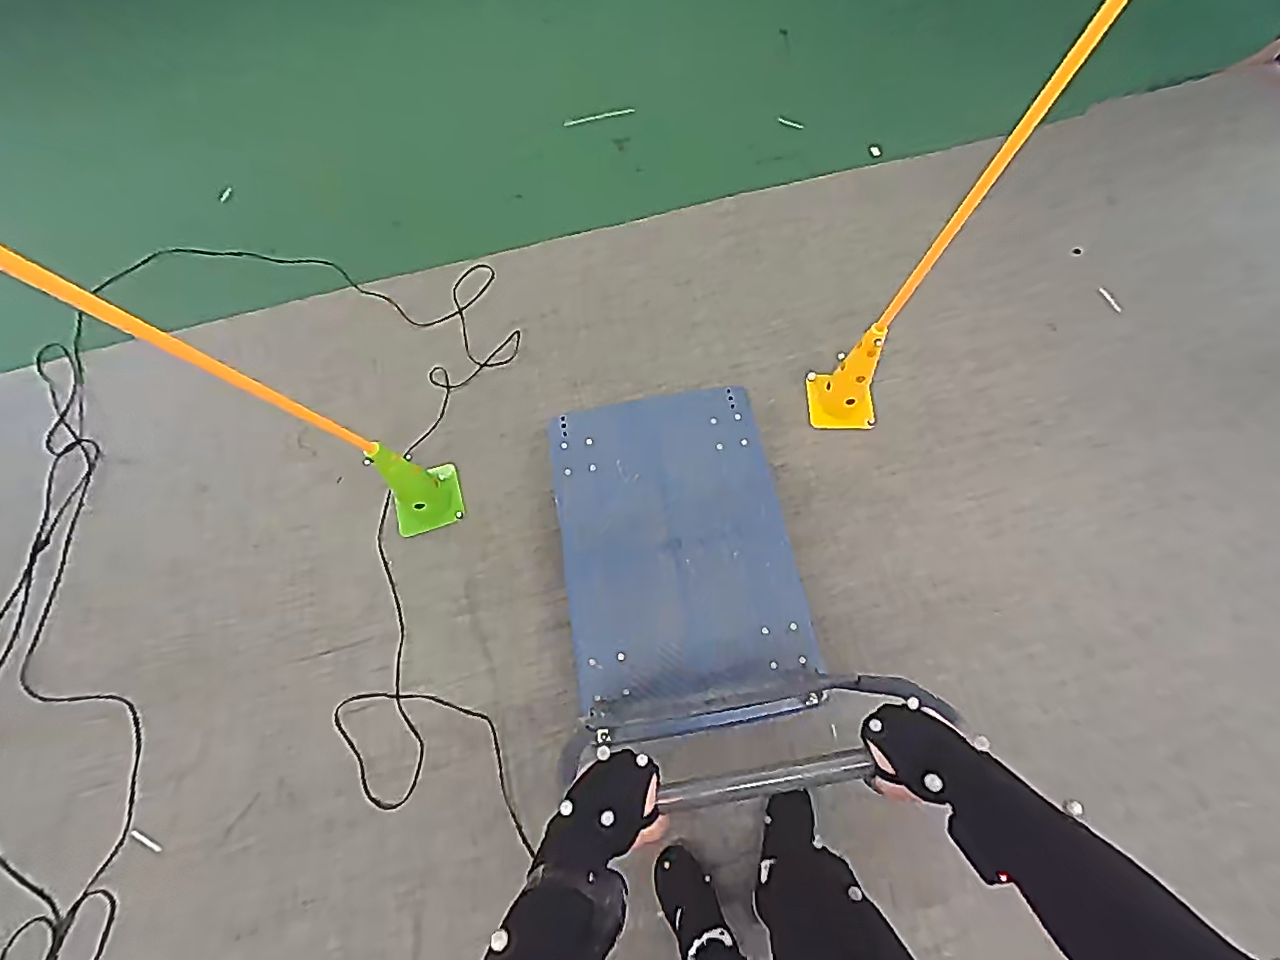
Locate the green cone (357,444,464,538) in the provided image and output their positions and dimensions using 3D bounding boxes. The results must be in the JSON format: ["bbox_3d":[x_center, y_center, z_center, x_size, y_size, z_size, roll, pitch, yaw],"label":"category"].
[{"bbox_3d":[-0.662,-0.006,1.496,0.202,0.368,0.200,-19,66,-3],"label":"green cone"}]
